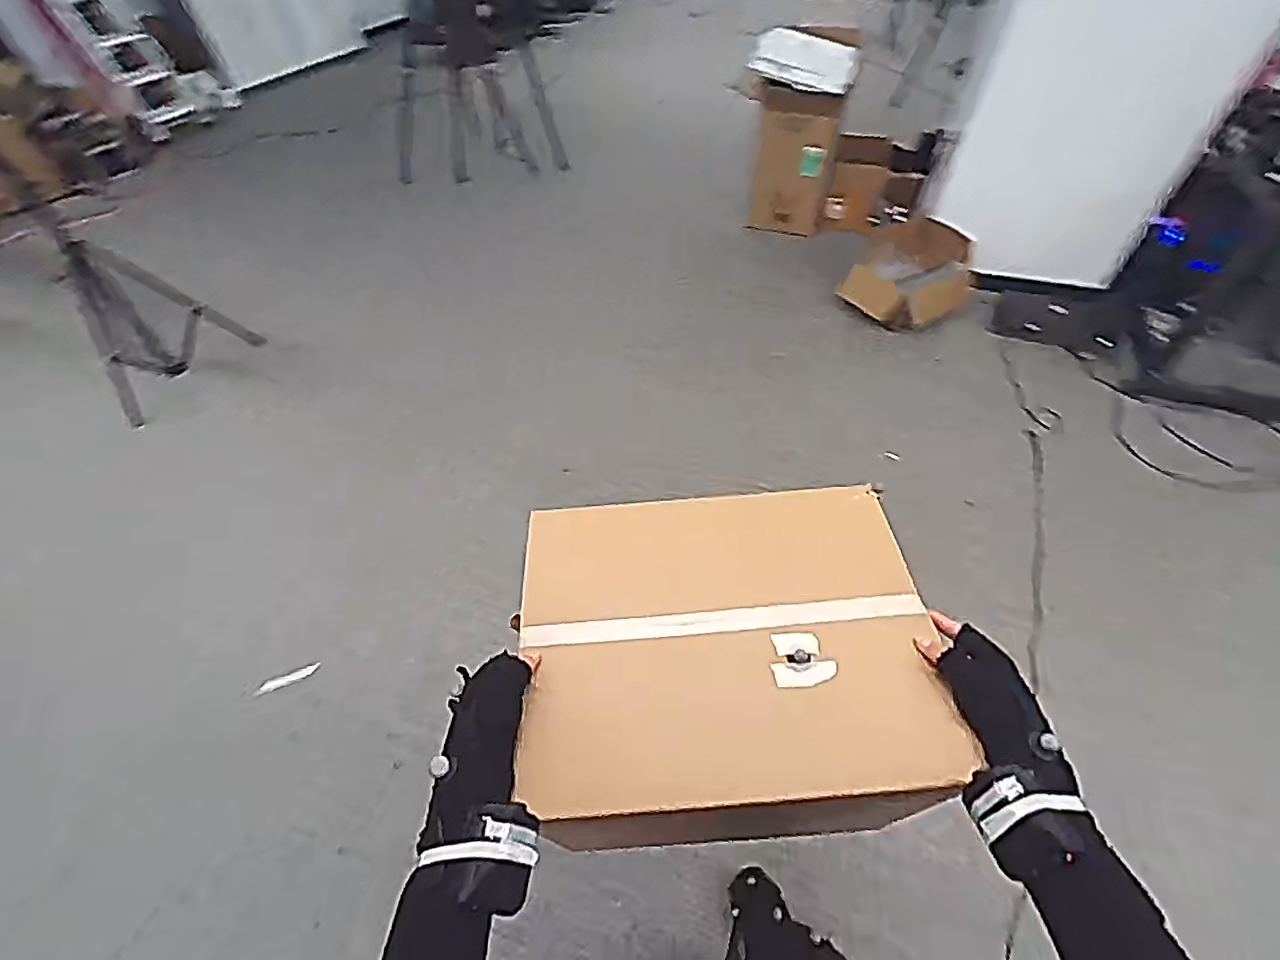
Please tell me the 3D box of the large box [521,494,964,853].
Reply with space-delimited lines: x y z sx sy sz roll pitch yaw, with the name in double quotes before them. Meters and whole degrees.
"large box" 0.082 0.248 0.679 0.408 0.320 0.320 -5 52 -1
